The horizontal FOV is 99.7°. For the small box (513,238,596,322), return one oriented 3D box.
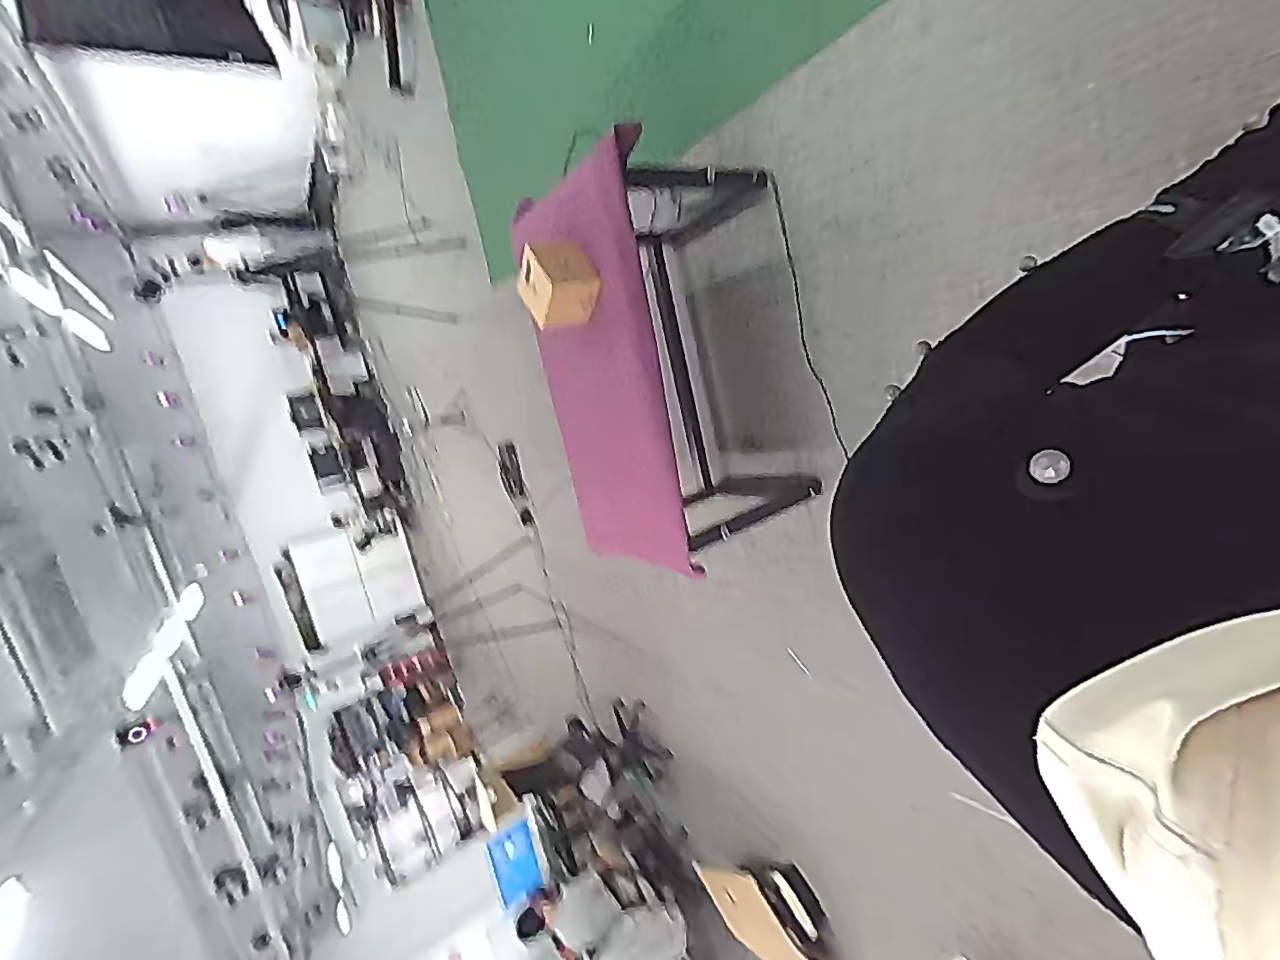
[{"bbox_3d":[-0.258,-0.602,1.623,0.179,0.176,0.168,58,146,17],"label":"small box"}]
